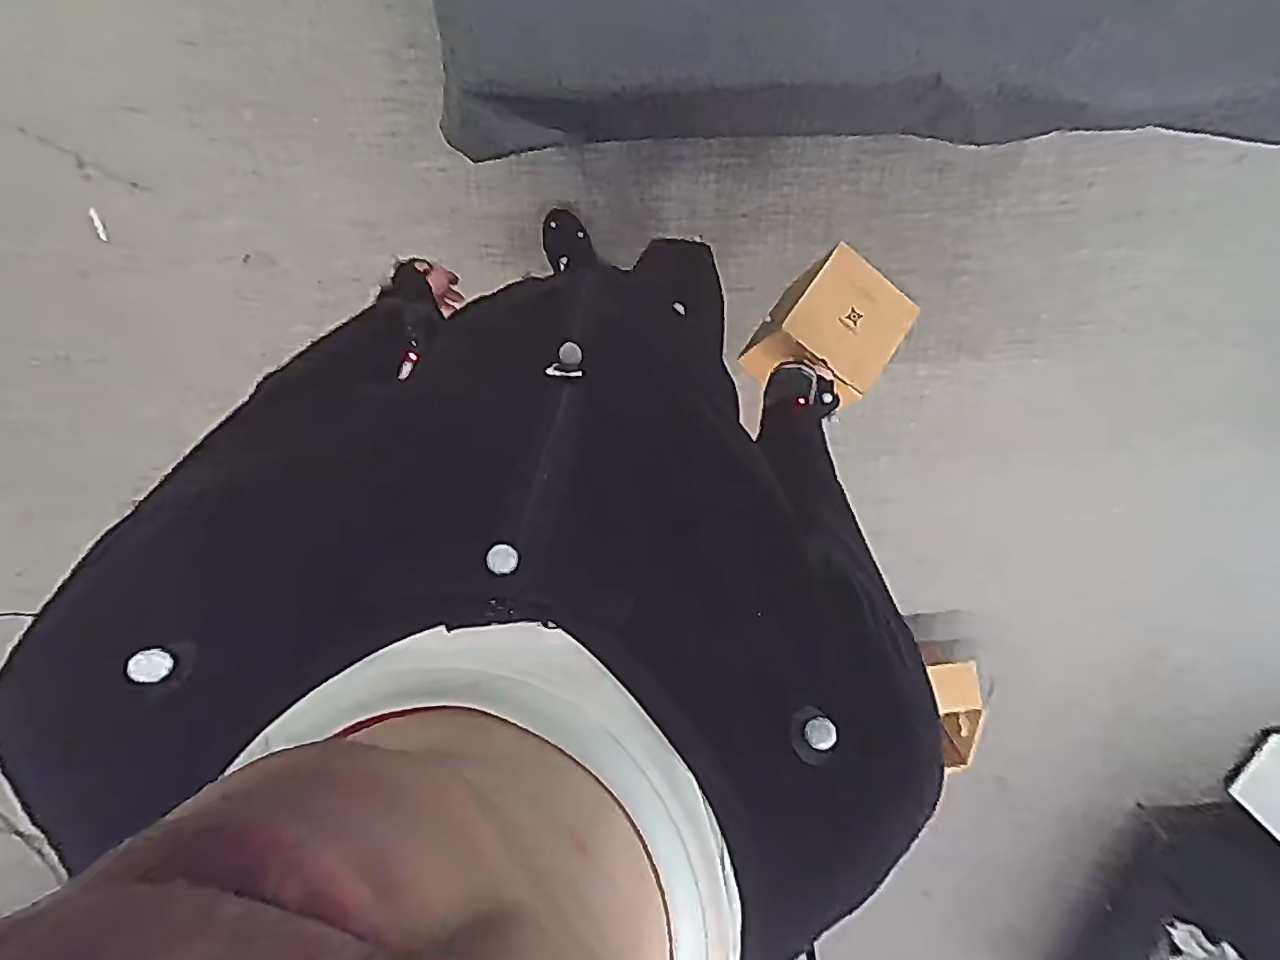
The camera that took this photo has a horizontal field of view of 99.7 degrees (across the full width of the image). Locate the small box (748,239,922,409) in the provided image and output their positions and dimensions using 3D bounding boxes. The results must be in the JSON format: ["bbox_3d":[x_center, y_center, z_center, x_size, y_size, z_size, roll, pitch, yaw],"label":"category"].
[{"bbox_3d":[0.298,-0.236,0.870,0.168,0.176,0.179,37,81,-9],"label":"small box"}]
